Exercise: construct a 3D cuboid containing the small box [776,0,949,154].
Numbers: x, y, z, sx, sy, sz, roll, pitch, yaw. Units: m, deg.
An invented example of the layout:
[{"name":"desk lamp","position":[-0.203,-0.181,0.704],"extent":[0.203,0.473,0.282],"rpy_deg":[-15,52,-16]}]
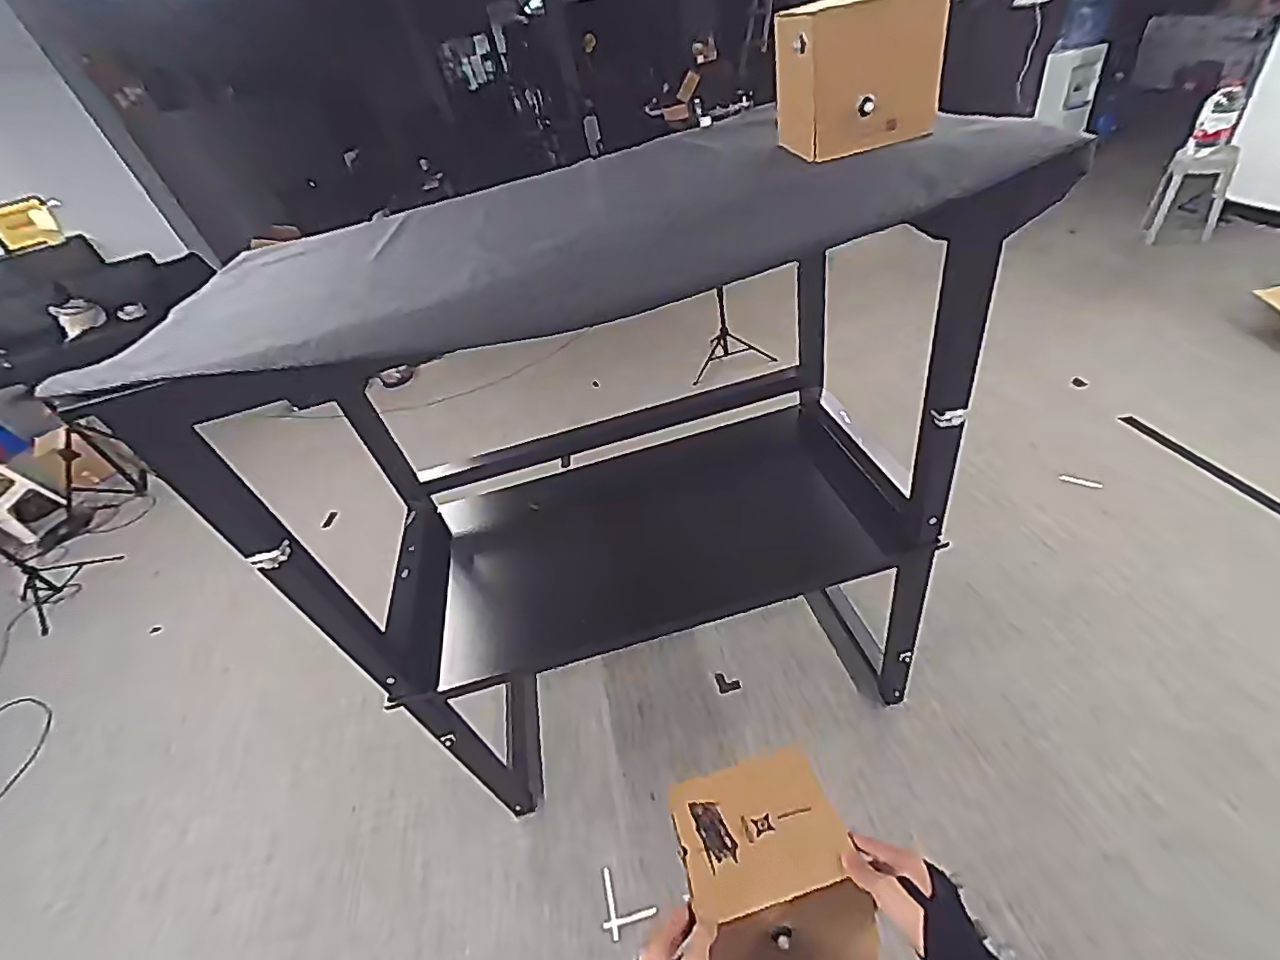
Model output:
[{"name":"small box","position":[0.293,-0.572,0.748],"extent":[0.168,0.176,0.179],"rpy_deg":[-13,40,3]}]
